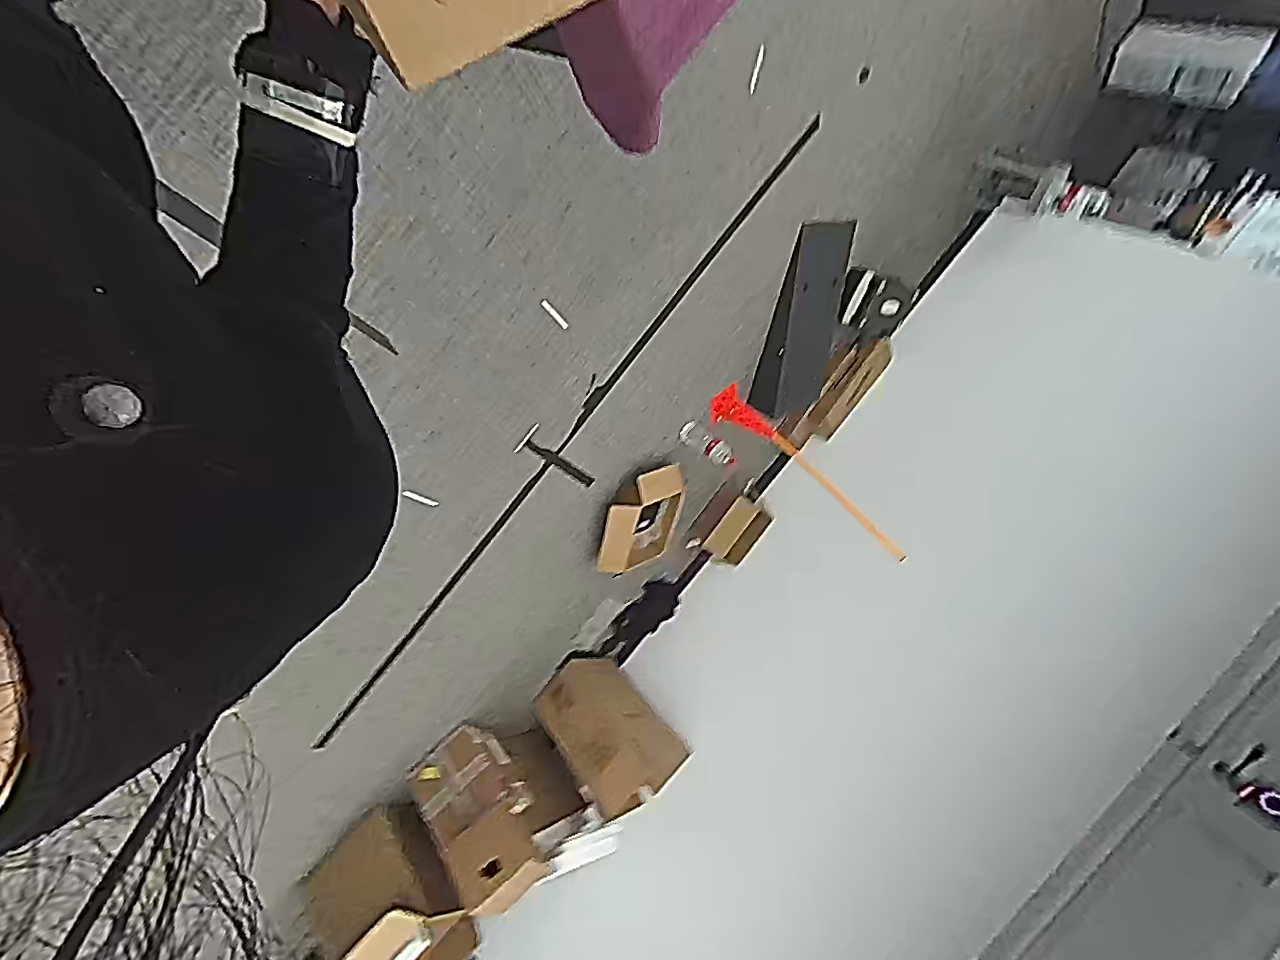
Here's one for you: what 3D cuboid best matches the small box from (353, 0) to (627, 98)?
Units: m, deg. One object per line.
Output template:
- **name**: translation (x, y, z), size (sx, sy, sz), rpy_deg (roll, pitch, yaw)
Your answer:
- **small box**: translation (-0.088, -0.322, 0.231), size (0.179, 0.176, 0.168), rpy_deg (-33, 158, -5)
